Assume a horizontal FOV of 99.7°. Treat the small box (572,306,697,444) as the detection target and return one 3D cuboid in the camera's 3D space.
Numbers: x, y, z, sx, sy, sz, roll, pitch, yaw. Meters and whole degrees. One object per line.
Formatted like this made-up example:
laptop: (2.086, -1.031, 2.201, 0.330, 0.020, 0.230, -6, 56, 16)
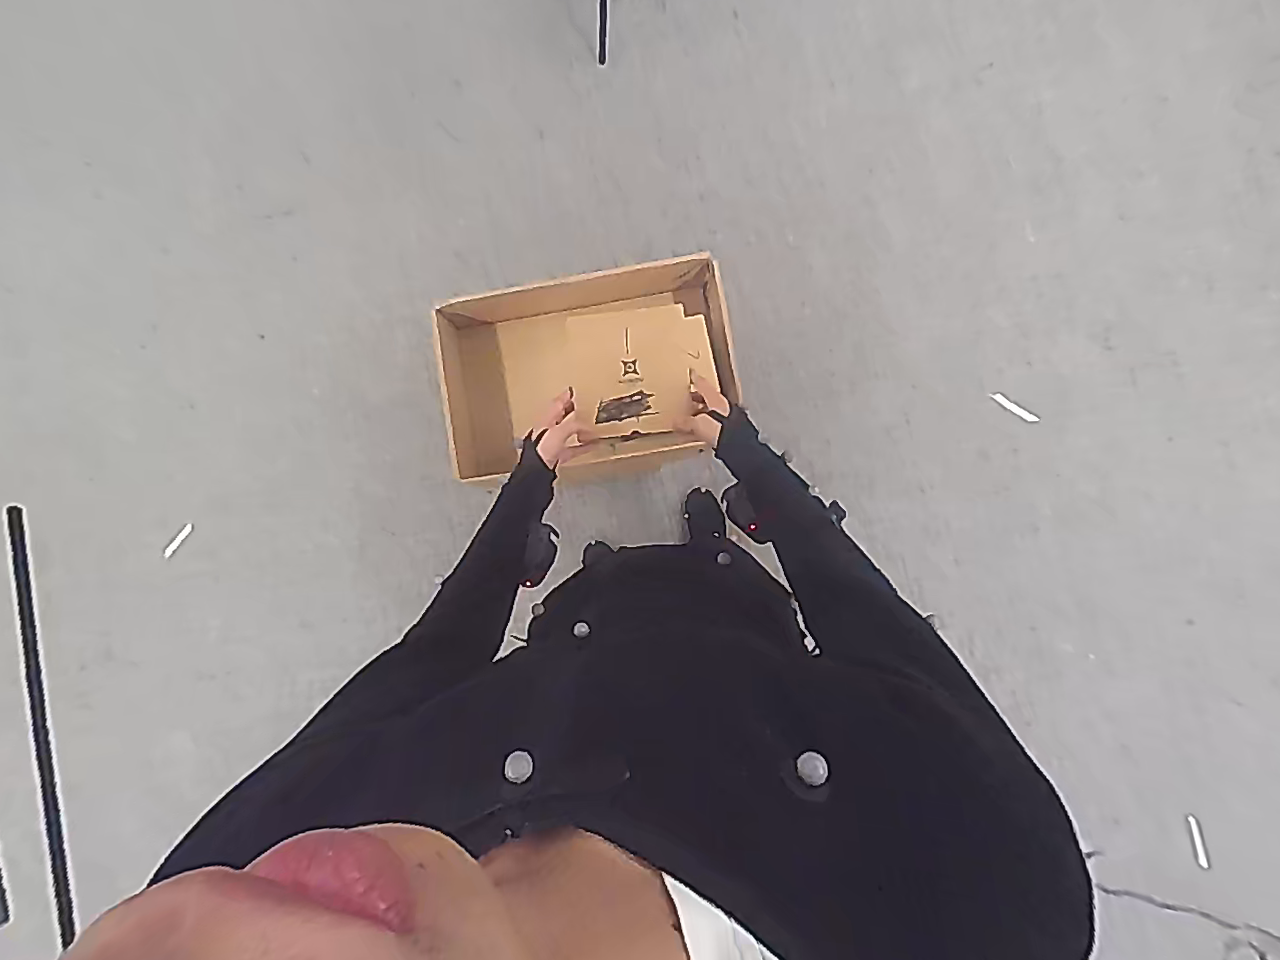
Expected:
small box: (-0.001, -0.148, 0.824, 0.168, 0.176, 0.179, -5, 92, 4)
